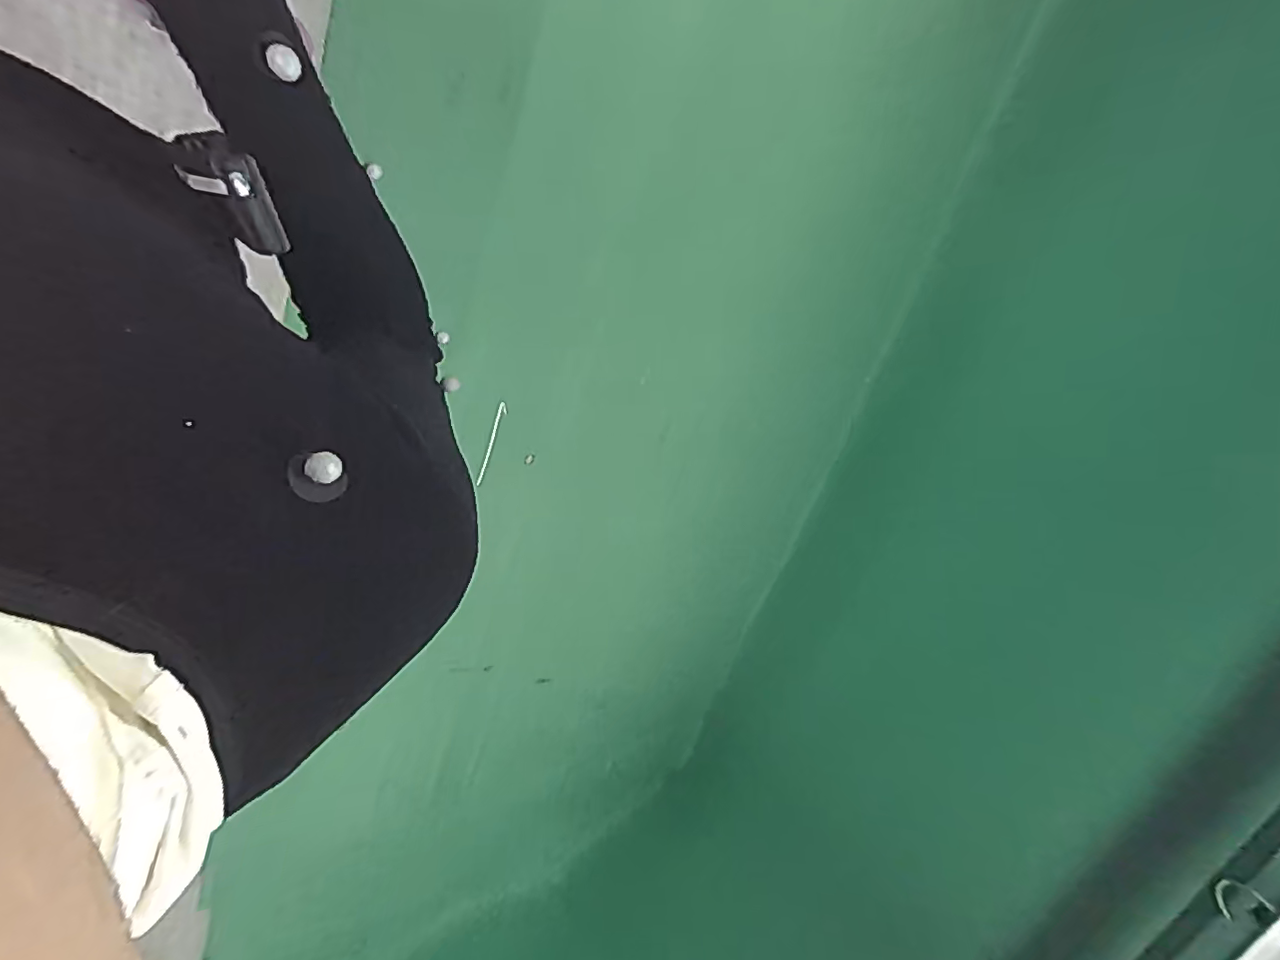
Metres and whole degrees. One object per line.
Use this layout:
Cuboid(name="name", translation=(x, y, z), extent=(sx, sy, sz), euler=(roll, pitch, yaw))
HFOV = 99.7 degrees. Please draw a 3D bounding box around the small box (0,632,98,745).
Cuboid(name="small box", translation=(-1.456, 0.494, 1.293), extent=(0.168, 0.176, 0.179), euler=(-46, 137, -10))
